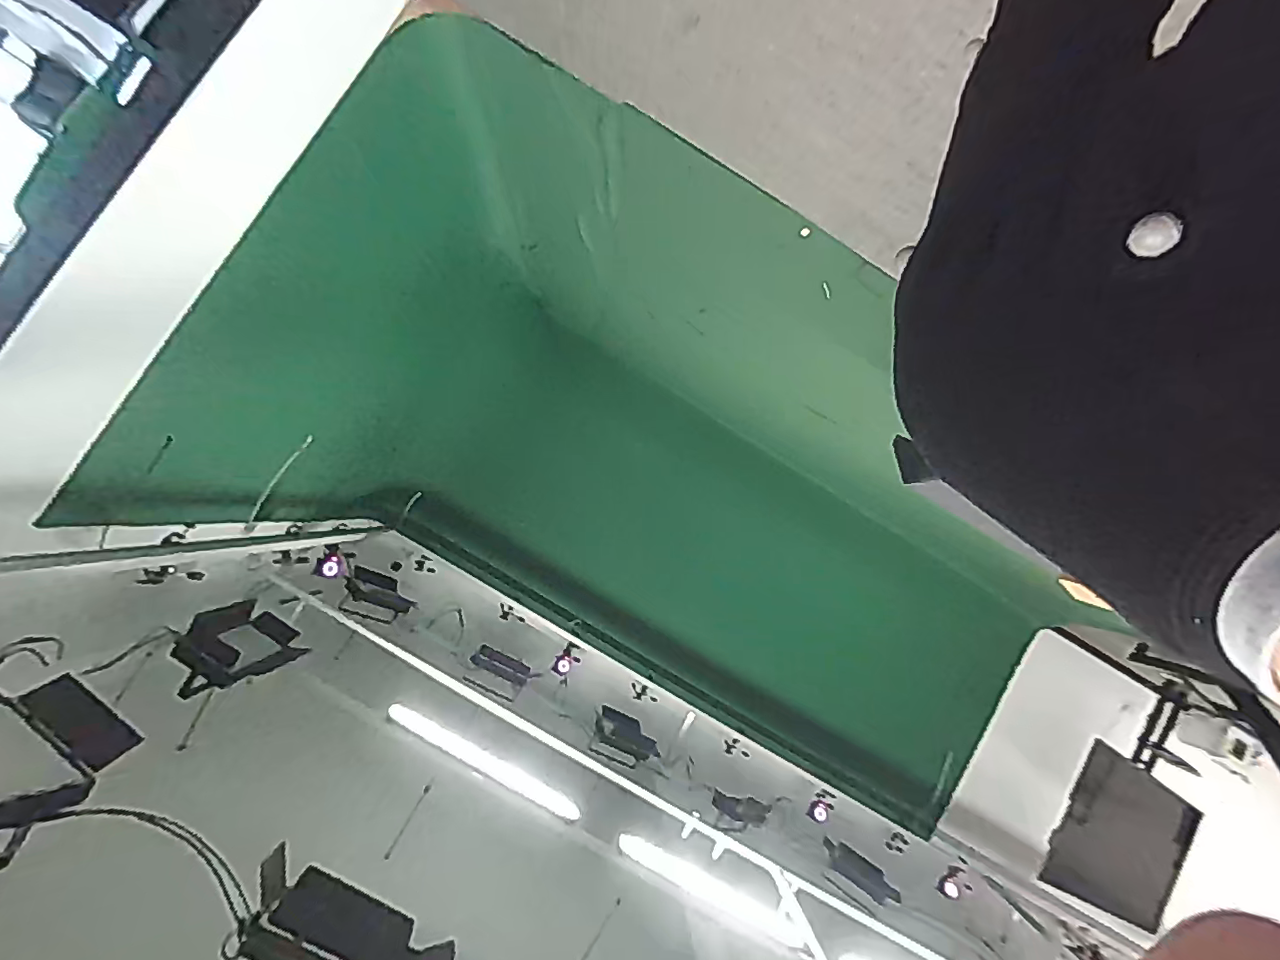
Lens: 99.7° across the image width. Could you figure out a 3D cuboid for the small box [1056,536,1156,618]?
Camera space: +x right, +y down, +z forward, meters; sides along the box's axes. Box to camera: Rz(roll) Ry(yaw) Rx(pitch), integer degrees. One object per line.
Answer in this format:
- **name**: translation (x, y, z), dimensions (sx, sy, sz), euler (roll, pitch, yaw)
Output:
- **small box**: translation (1.454, 0.295, 1.679), dimensions (0.168, 0.176, 0.179), euler (35, 174, -28)
